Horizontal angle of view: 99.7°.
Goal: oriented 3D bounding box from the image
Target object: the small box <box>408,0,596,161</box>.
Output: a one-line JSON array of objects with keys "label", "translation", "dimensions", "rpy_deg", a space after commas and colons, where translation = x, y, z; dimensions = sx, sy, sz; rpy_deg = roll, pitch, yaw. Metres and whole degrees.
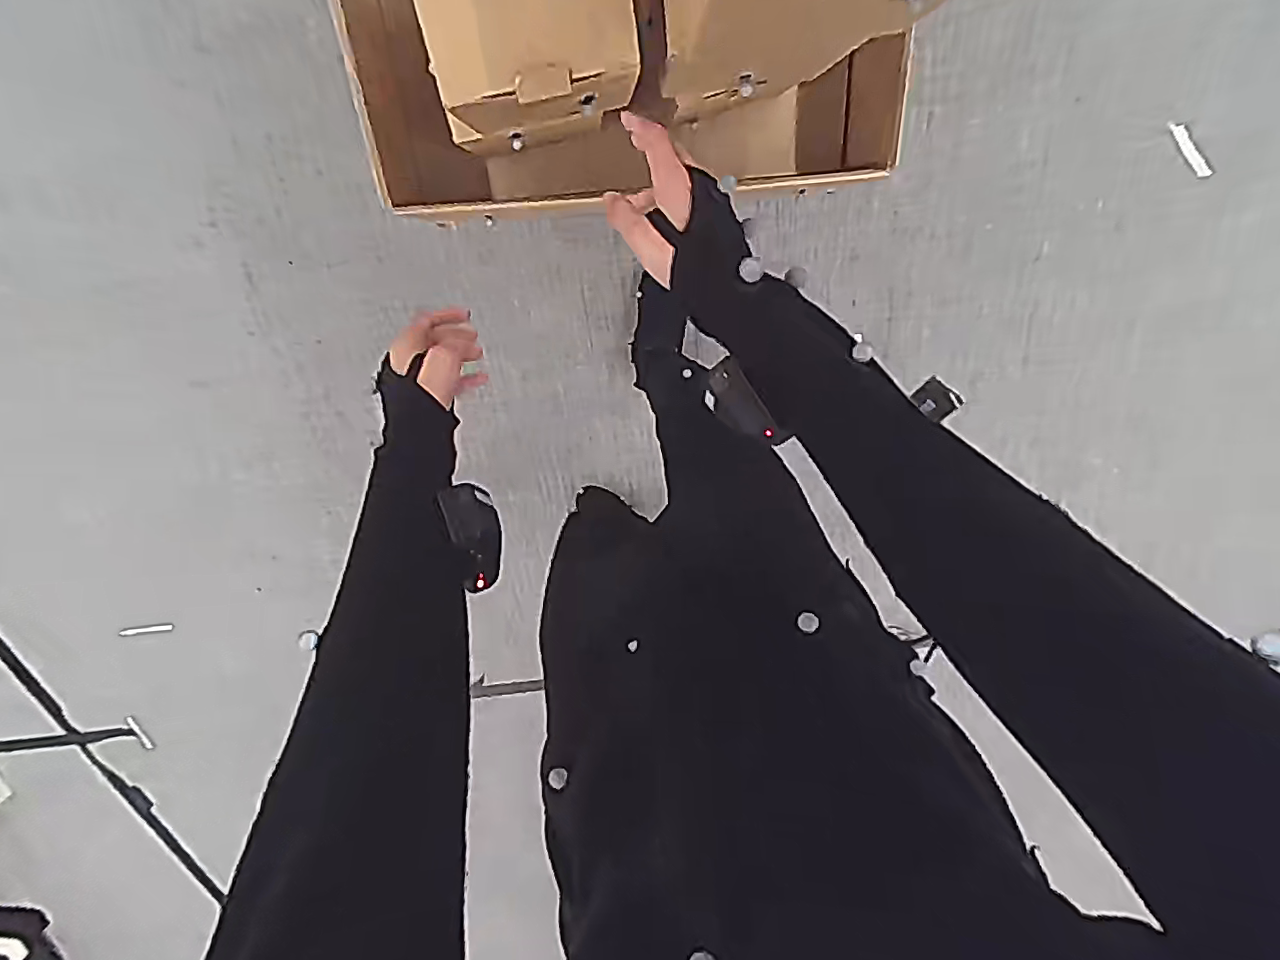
[{"label": "small box", "translation": [-0.147, -0.483, 0.614], "dimensions": [0.168, 0.176, 0.179], "rpy_deg": [-11, 116, 1]}]
